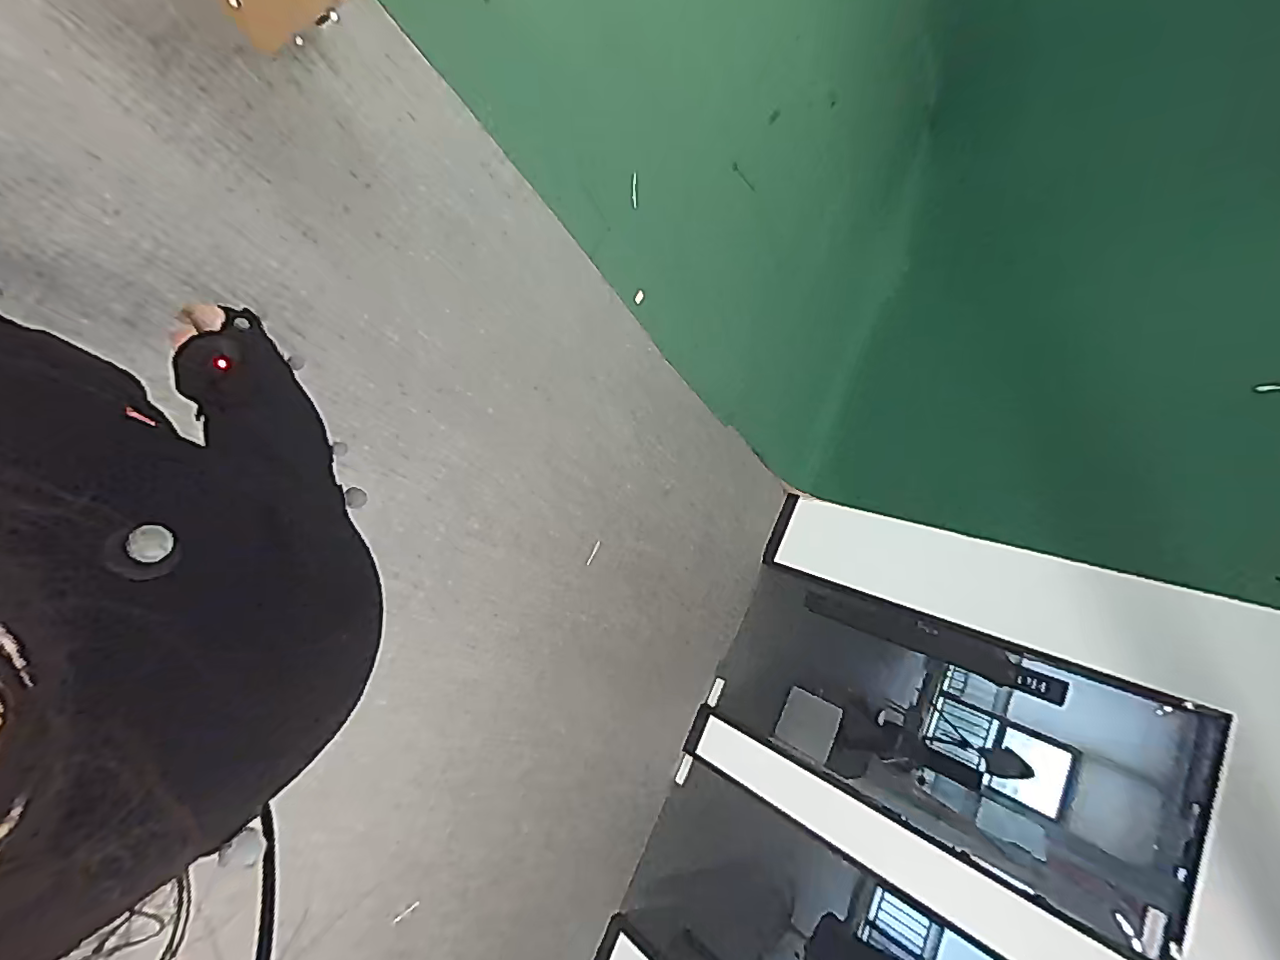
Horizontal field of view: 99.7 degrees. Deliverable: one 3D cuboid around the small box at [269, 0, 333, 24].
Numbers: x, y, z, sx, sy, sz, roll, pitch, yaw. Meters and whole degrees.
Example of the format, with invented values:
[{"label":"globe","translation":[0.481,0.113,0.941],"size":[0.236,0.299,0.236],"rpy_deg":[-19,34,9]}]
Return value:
[{"label":"small box","translation":[-0.601,-0.953,0.941],"size":[0.168,0.176,0.179],"rpy_deg":[-55,137,-19]}]
